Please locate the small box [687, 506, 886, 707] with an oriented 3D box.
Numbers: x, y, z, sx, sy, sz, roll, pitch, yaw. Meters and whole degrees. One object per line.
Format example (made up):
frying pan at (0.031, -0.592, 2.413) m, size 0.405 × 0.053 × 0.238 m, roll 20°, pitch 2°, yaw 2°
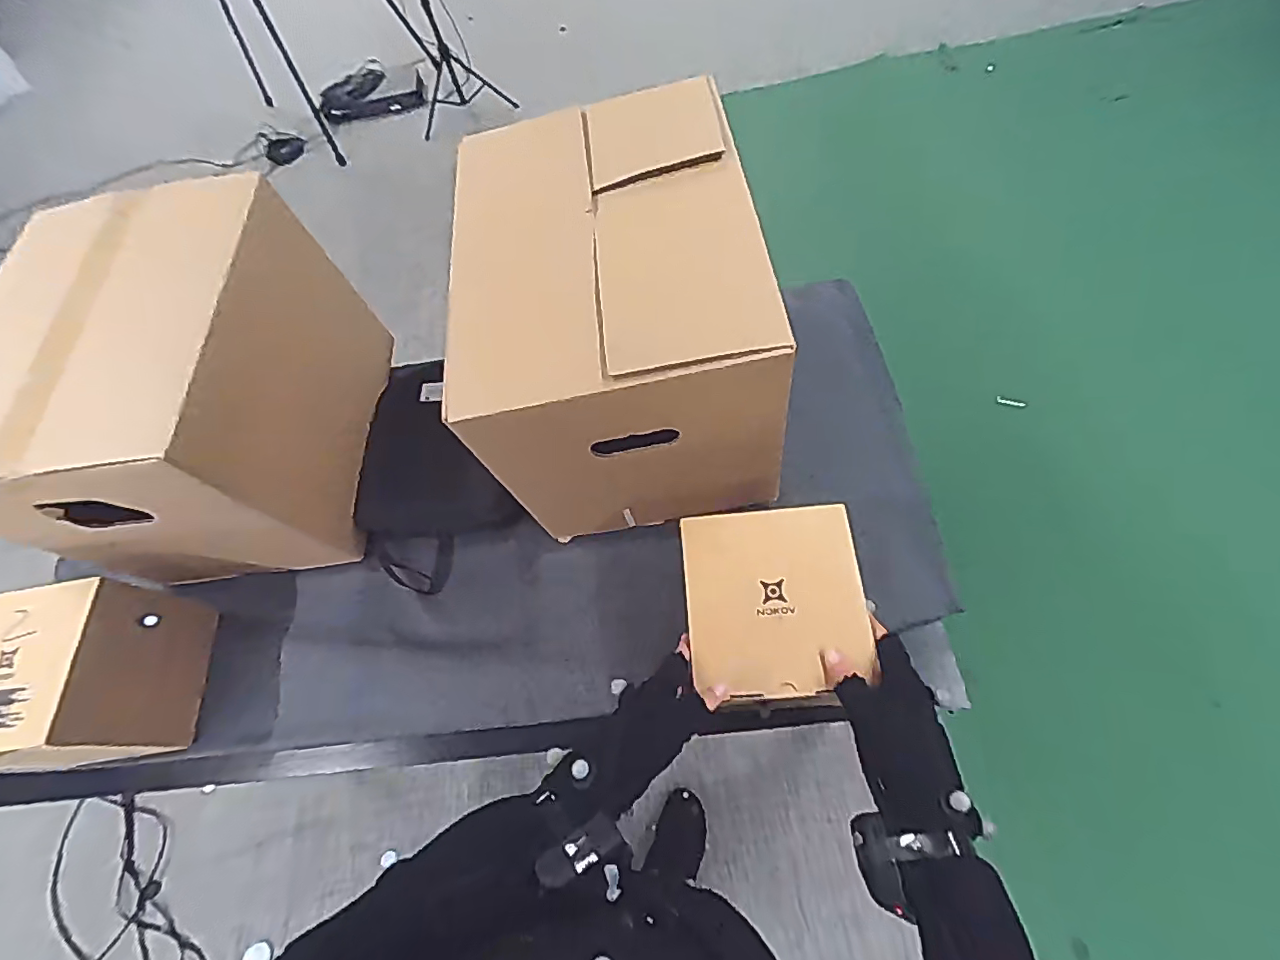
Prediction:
small box at (0.138, 0.143, 0.581) m, size 0.168 × 0.176 × 0.179 m, roll -5°, pitch 65°, yaw 5°
